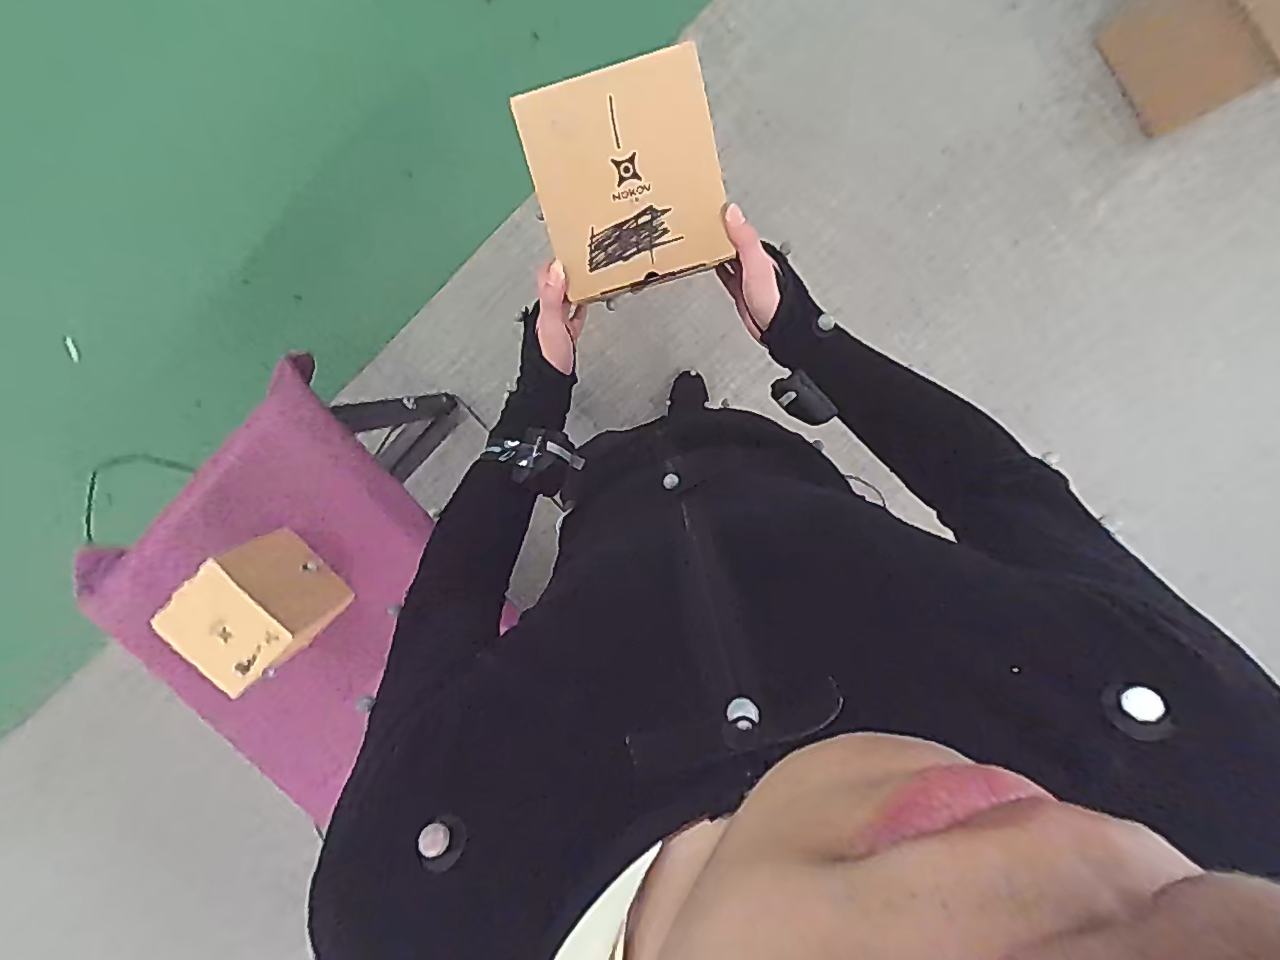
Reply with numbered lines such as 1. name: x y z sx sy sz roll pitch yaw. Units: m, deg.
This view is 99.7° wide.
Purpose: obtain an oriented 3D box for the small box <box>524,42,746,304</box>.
1. small box: 0.000 -0.287 0.549 0.168 0.176 0.179 -14 107 3

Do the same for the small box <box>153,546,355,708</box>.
1. small box: -0.631 0.230 0.904 0.168 0.176 0.179 -42 95 11
